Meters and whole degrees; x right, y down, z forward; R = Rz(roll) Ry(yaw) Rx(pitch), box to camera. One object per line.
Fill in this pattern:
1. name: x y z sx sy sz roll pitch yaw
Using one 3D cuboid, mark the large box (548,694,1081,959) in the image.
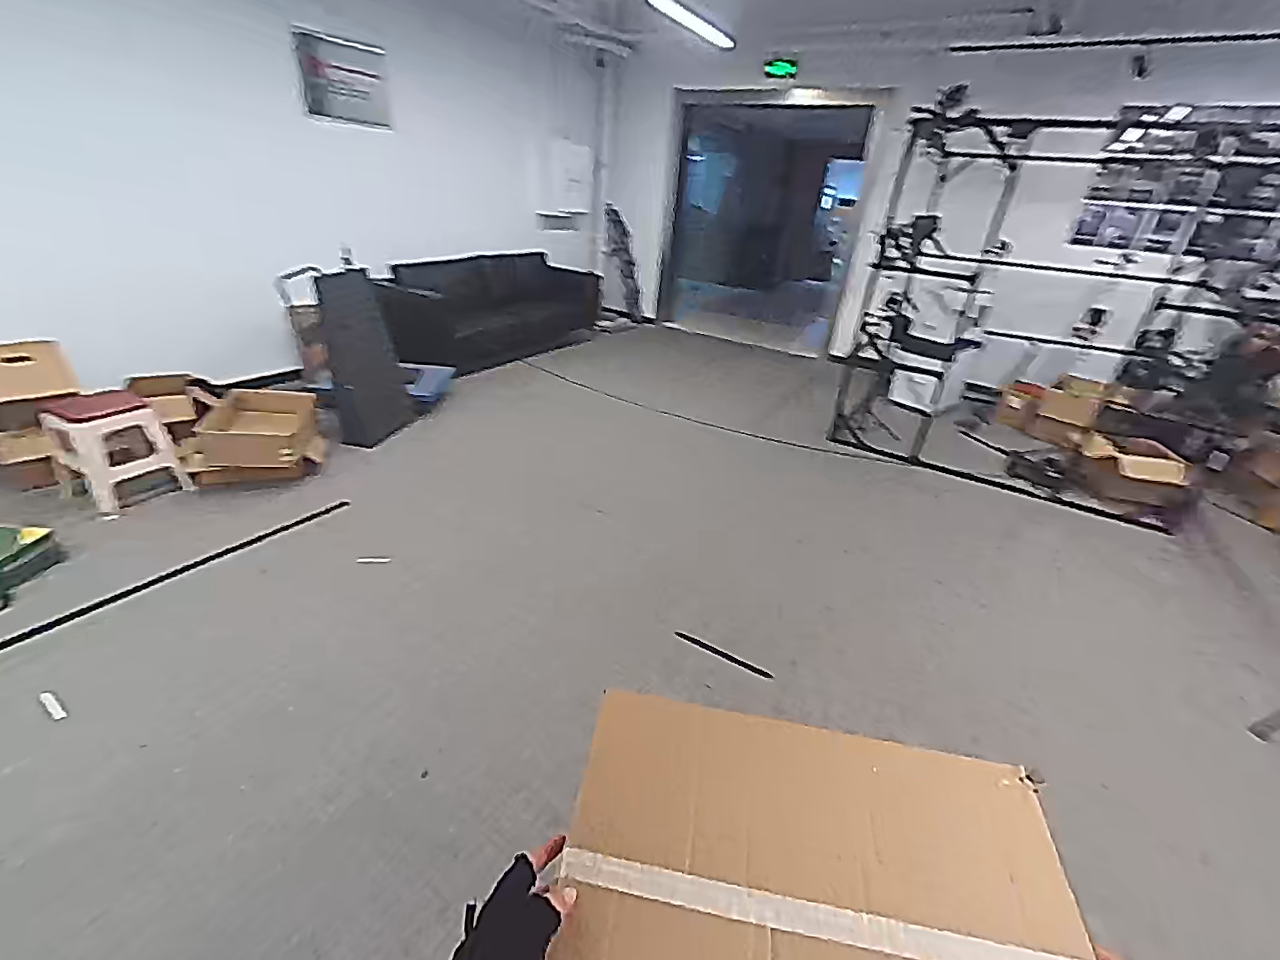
1. large box: 0.131 0.458 0.519 0.408 0.320 0.320 8 39 7
